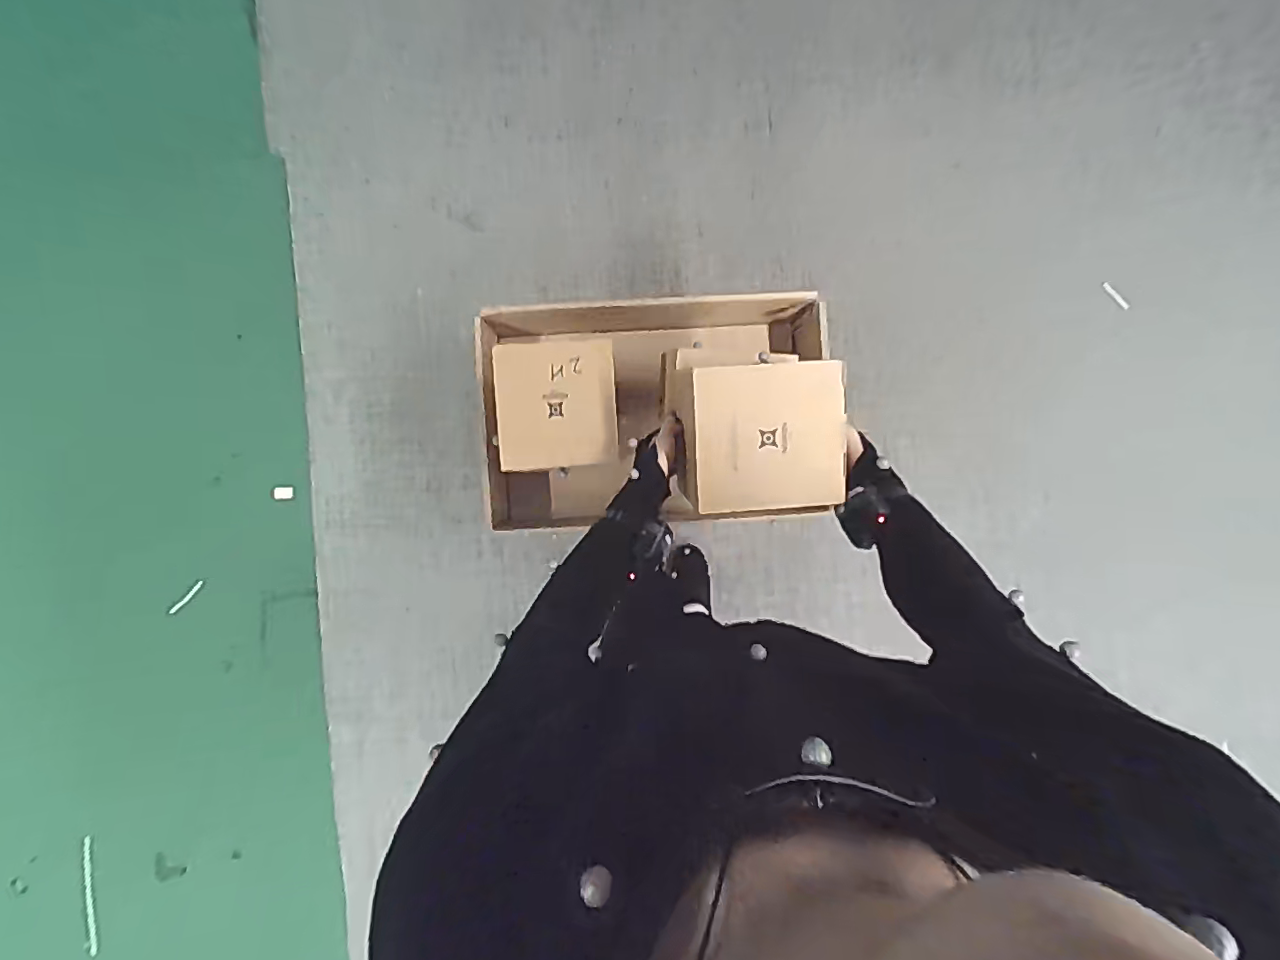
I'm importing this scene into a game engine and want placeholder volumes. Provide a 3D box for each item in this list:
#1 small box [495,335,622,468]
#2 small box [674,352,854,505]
[{"bbox_3d":[-0.113,-0.108,0.809,0.168,0.176,0.179,-3,90,-2],"label":"small box"},{"bbox_3d":[0.142,-0.069,0.670,0.179,0.176,0.168,-3,99,-3],"label":"small box"}]
